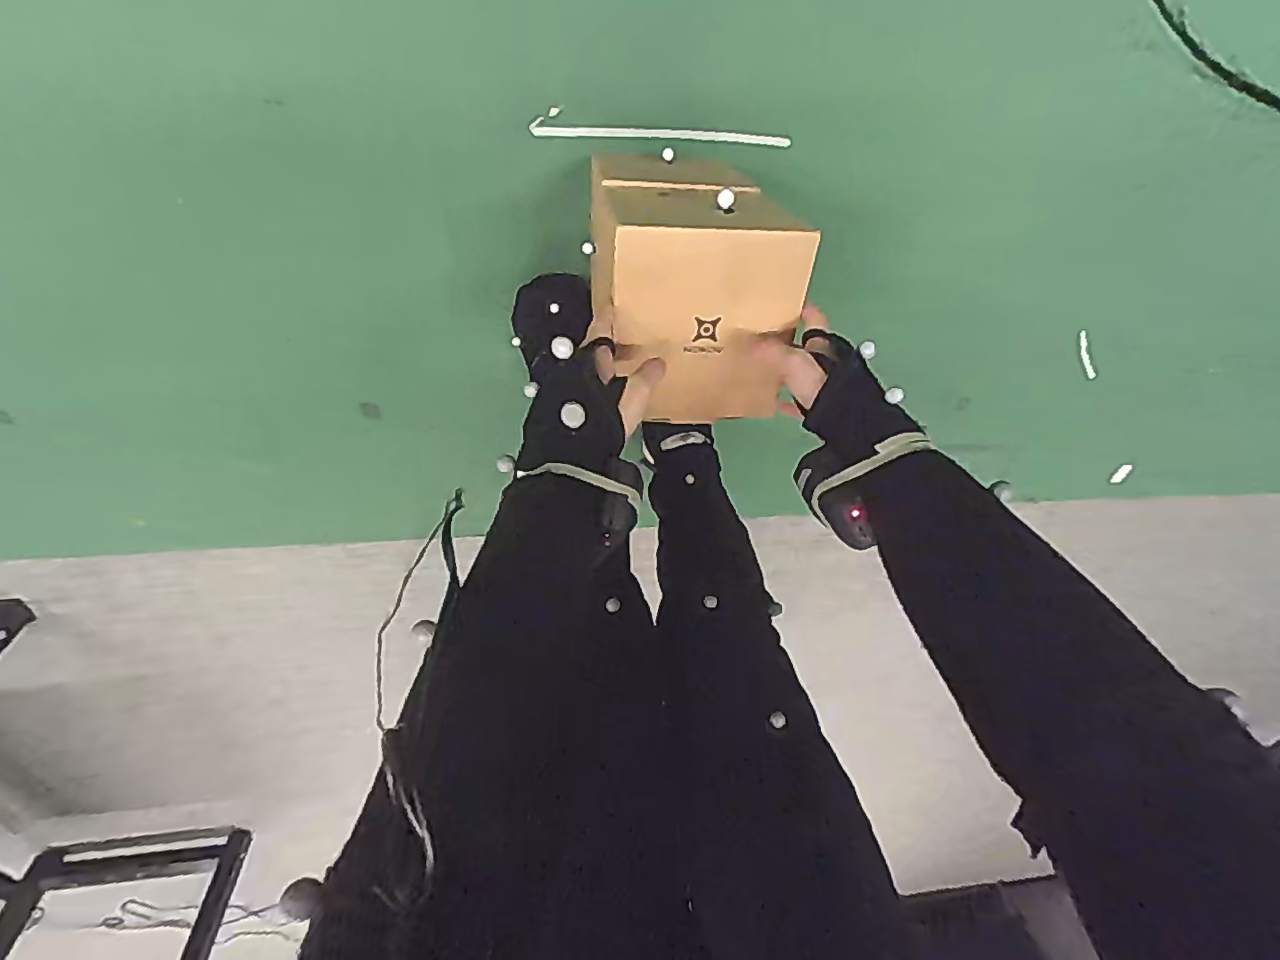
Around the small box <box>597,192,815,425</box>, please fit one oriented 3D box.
[{"bbox_3d":[0.045,-0.172,0.530,0.168,0.176,0.179,-2,128,-7],"label":"small box"}]
